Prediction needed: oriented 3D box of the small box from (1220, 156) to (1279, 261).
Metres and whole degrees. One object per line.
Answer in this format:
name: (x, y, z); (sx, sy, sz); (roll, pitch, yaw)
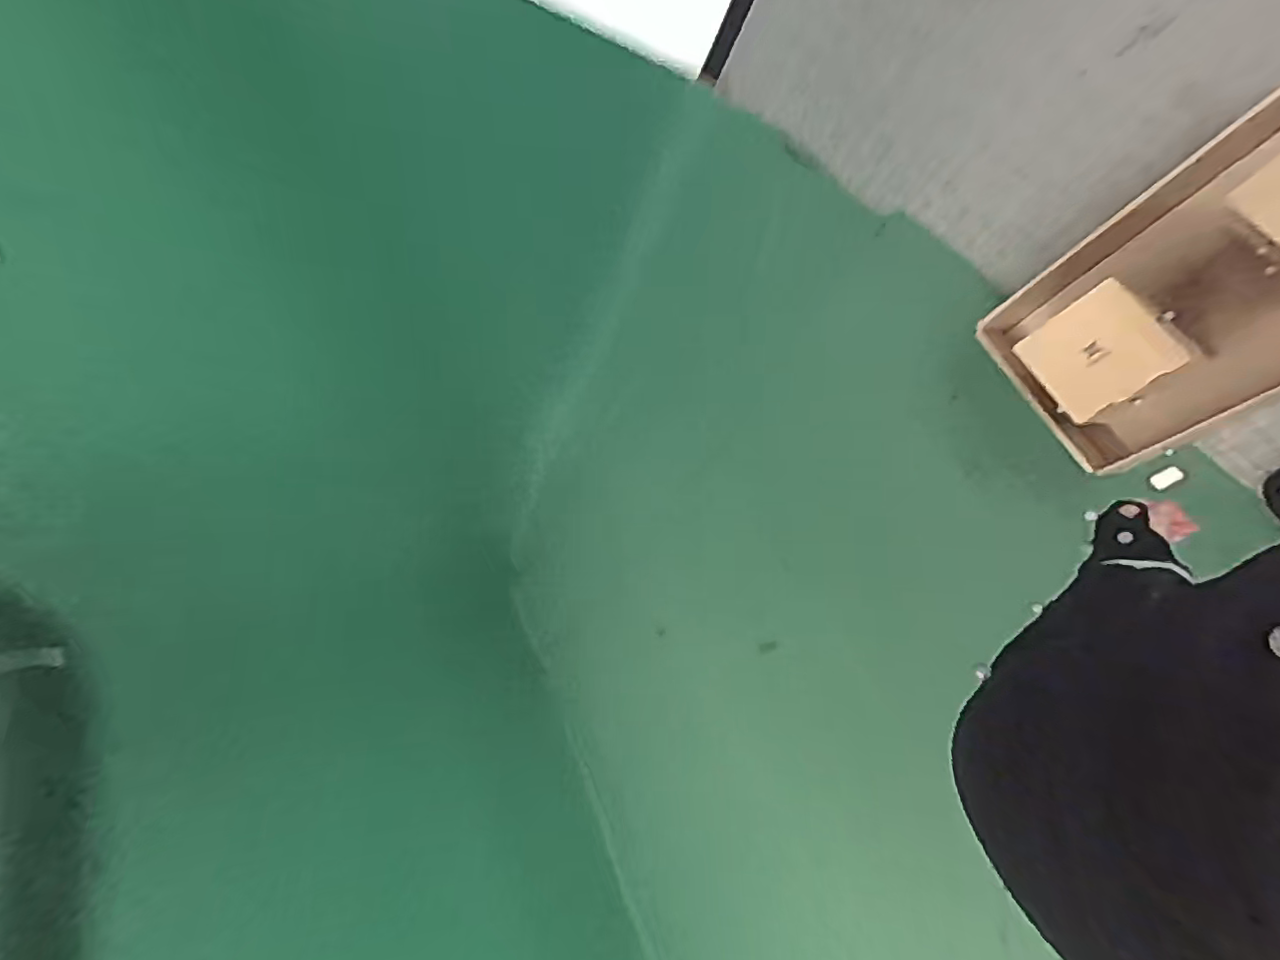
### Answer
small box: (0.961, -0.378, 0.729); (0.168, 0.176, 0.179); (-51, 56, 44)

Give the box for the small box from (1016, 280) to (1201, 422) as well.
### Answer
small box: (0.816, -0.216, 0.946); (0.168, 0.176, 0.179); (-47, 60, 44)
